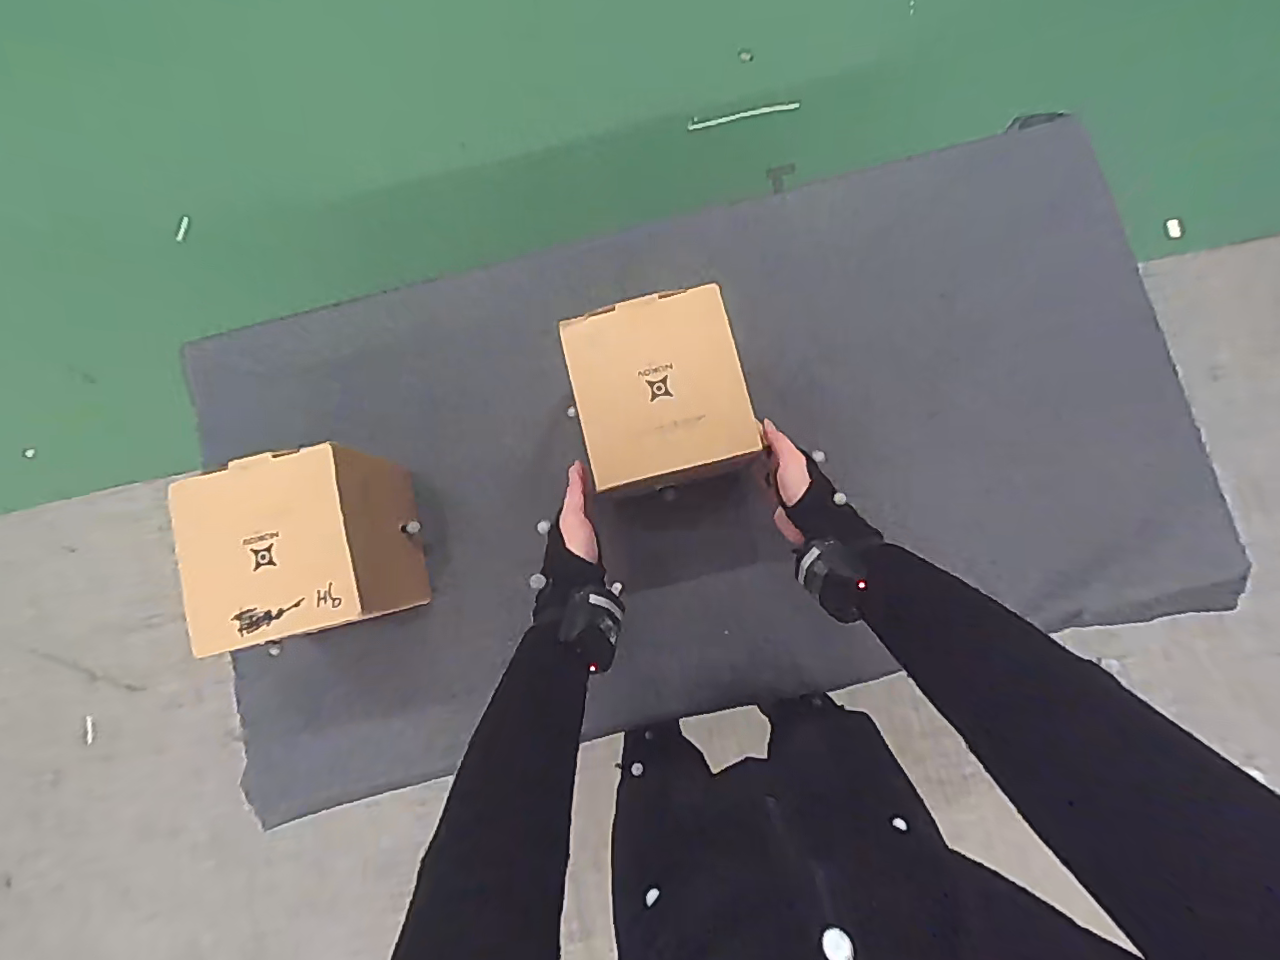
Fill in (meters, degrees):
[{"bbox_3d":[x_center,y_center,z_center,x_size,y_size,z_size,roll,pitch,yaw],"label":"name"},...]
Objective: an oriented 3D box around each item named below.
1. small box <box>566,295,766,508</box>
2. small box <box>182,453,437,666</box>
[{"bbox_3d":[0.026,-0.074,0.603,0.168,0.176,0.179,-14,84,1],"label":"small box"},{"bbox_3d":[-0.348,0.086,0.596,0.168,0.176,0.179,-15,82,1],"label":"small box"}]
